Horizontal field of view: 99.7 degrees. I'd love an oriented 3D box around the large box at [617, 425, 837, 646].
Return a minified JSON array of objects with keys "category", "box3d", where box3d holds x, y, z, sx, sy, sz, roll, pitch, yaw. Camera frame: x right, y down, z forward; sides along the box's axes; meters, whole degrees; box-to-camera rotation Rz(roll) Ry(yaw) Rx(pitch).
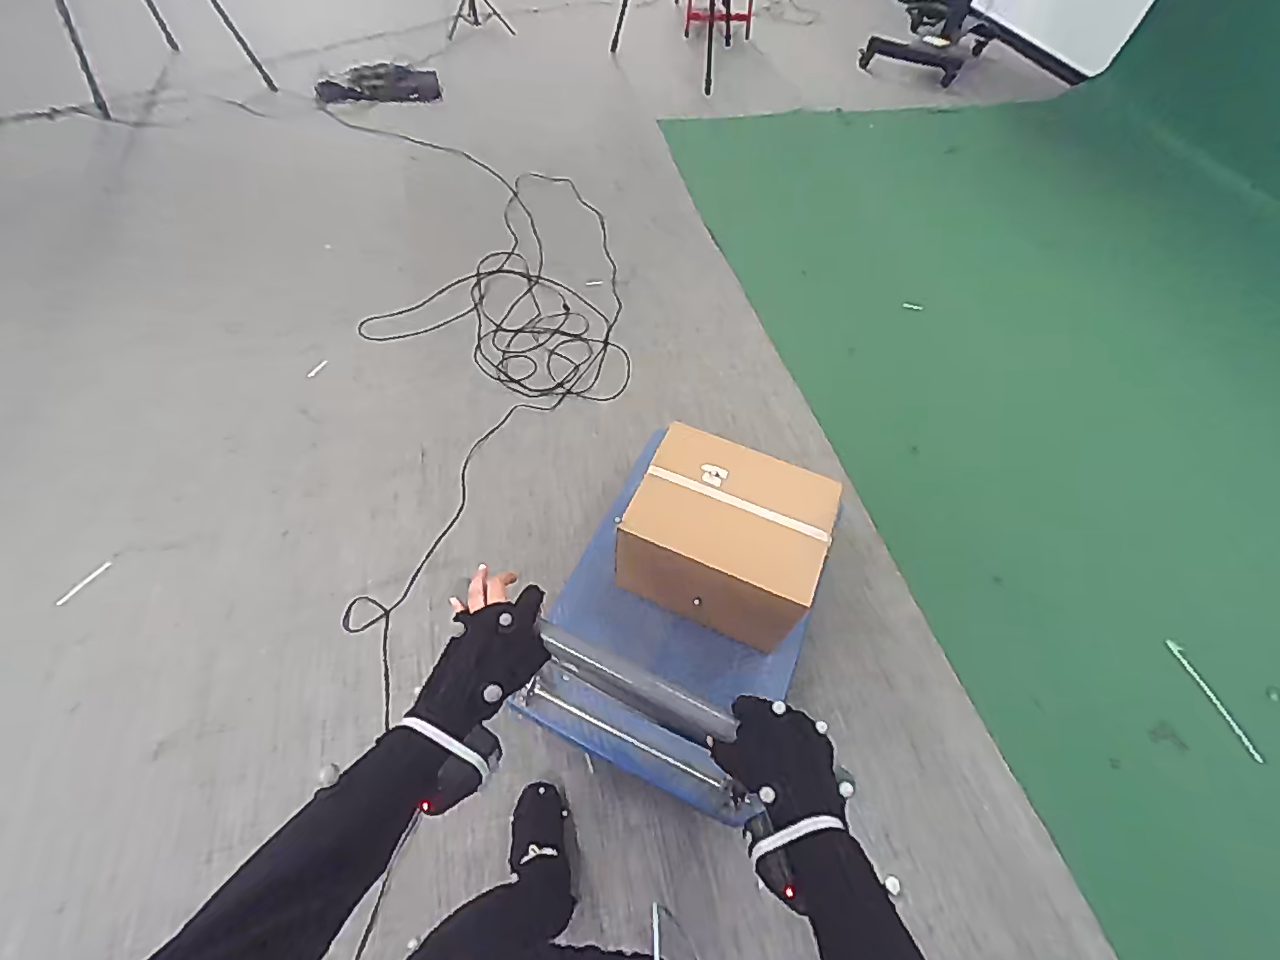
[{"category":"large box","box3d":[0.189,0.136,1.270,0.408,0.320,0.320,22,58,11]}]
